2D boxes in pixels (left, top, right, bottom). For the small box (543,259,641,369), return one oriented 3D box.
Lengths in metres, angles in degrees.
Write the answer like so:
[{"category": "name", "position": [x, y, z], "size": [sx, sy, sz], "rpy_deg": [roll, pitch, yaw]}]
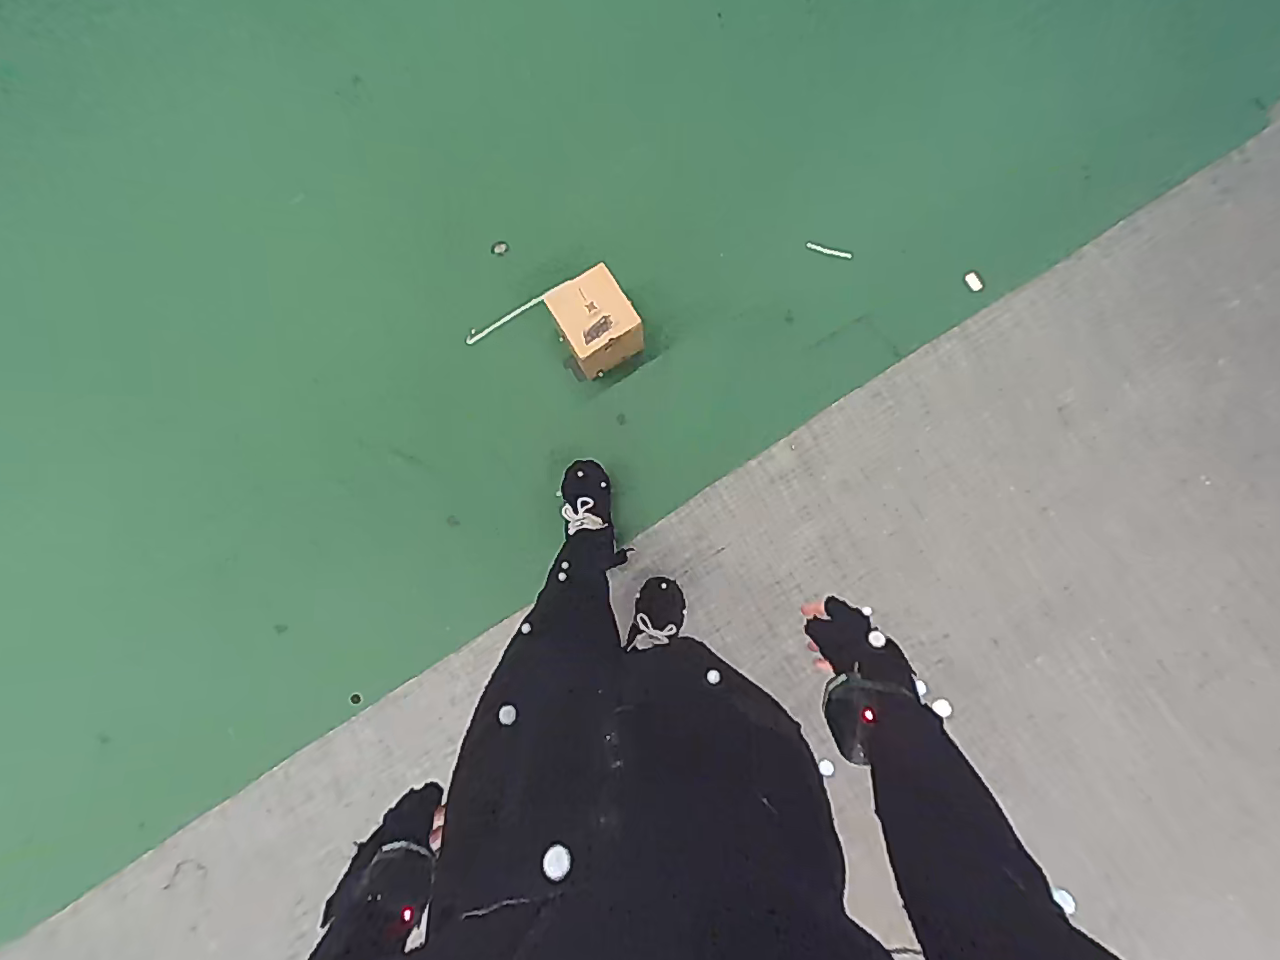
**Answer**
[{"category": "small box", "position": [-0.107, -0.388, 1.310], "size": [0.168, 0.176, 0.179], "rpy_deg": [-32, 84, -2]}]
